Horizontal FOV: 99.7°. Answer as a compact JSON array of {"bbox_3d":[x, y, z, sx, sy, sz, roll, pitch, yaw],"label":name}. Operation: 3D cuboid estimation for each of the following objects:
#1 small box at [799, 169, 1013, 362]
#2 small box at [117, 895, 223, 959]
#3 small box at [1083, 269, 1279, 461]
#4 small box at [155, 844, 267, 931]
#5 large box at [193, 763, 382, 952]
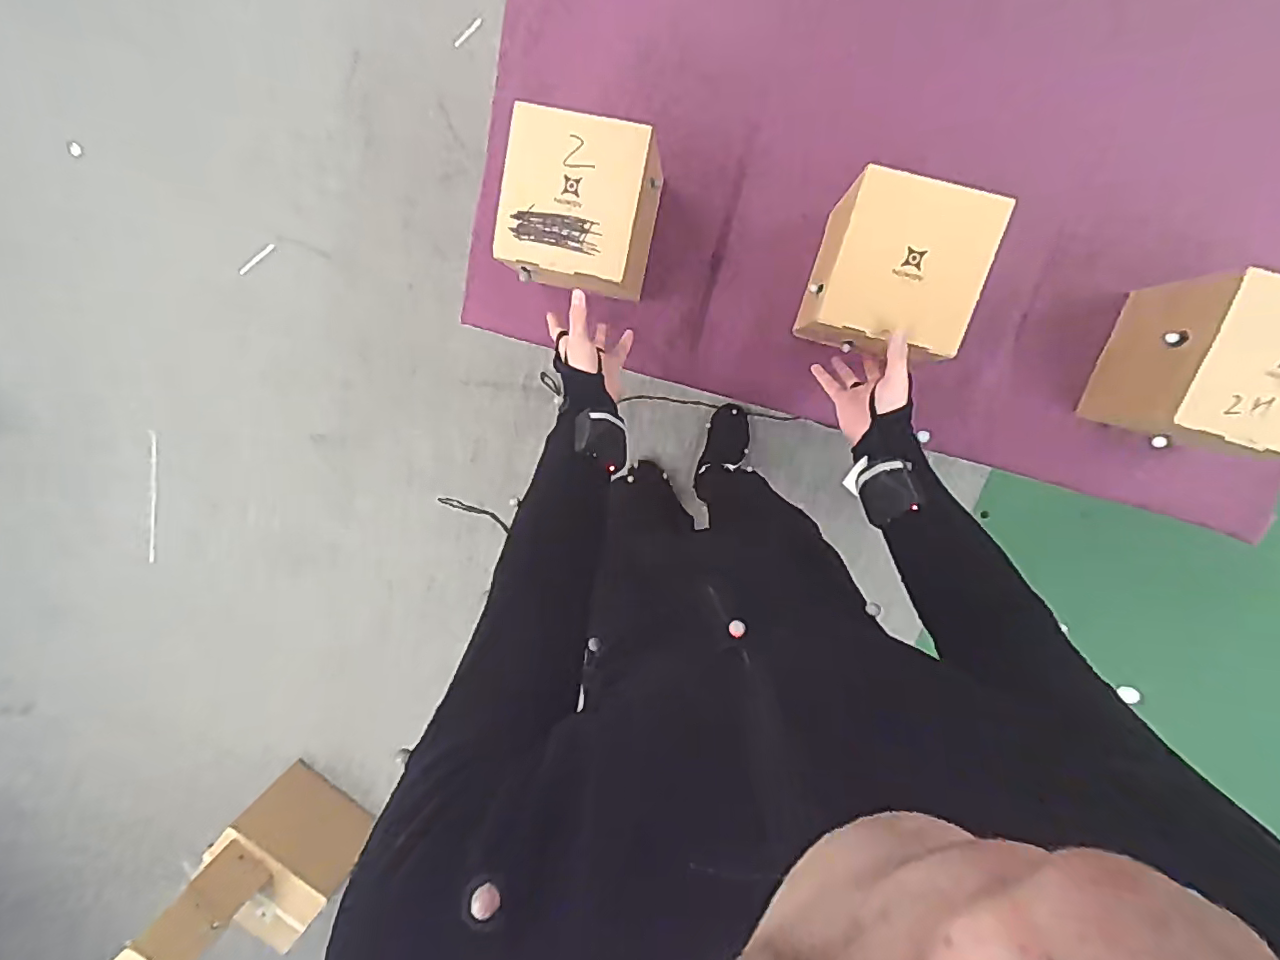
[{"bbox_3d":[0.316,-0.256,0.688,0.168,0.176,0.179,16,103,3],"label":"small box"},{"bbox_3d":[-1.294,1.289,1.471,0.168,0.176,0.179,45,103,-5],"label":"small box"},{"bbox_3d":[0.705,-0.134,0.663,0.168,0.176,0.179,17,102,4],"label":"small box"},{"bbox_3d":[-1.285,1.259,1.631,0.168,0.176,0.179,45,101,-4],"label":"small box"},{"bbox_3d":[-1.213,1.294,1.882,0.408,0.320,0.320,38,104,-3],"label":"large box"}]
